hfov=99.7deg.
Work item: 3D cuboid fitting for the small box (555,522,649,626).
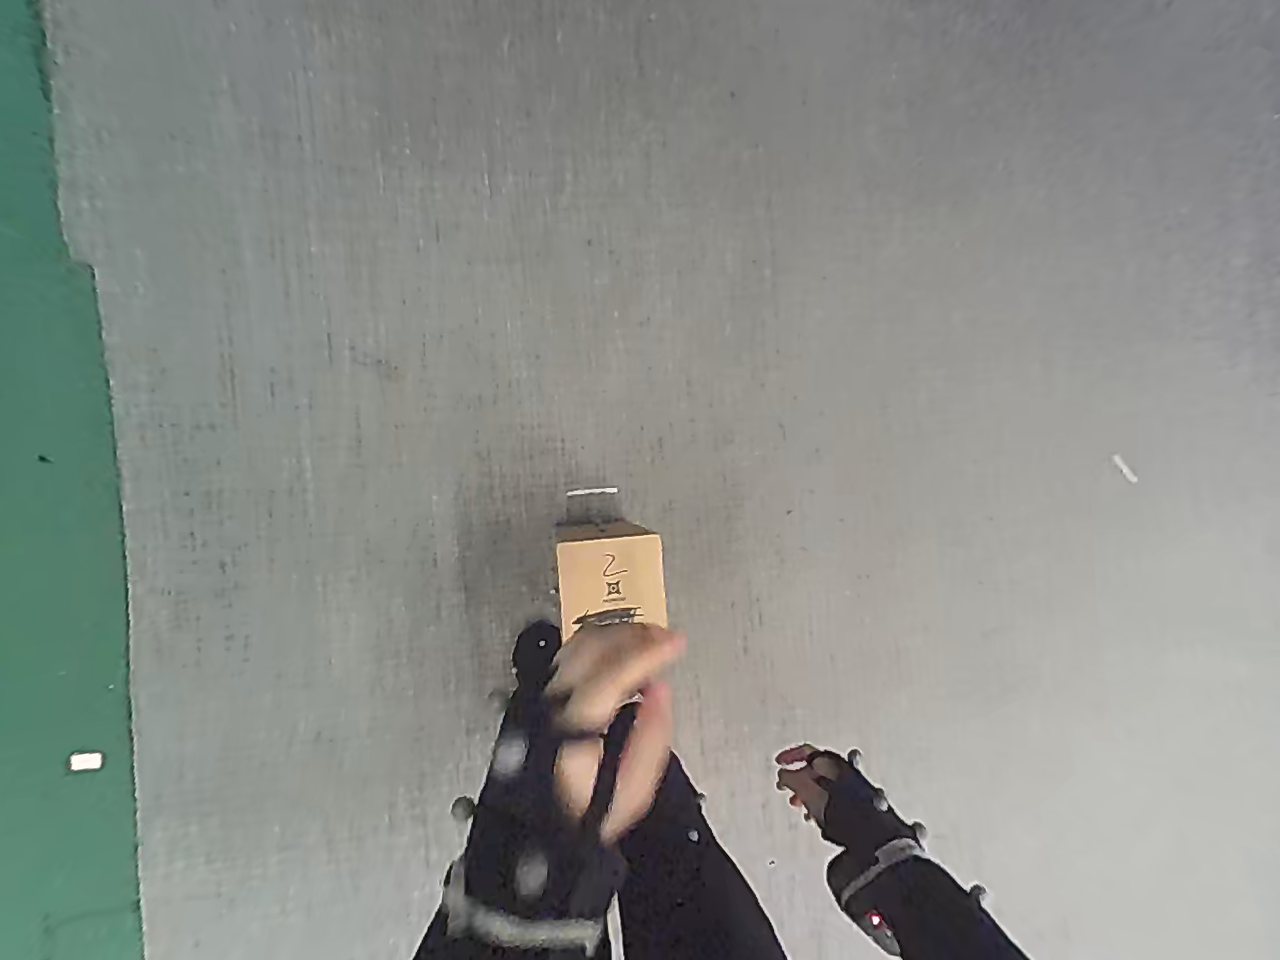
[{"bbox_3d":[-0.080,0.175,1.072,0.168,0.176,0.179,-3,92,-10],"label":"small box"}]
